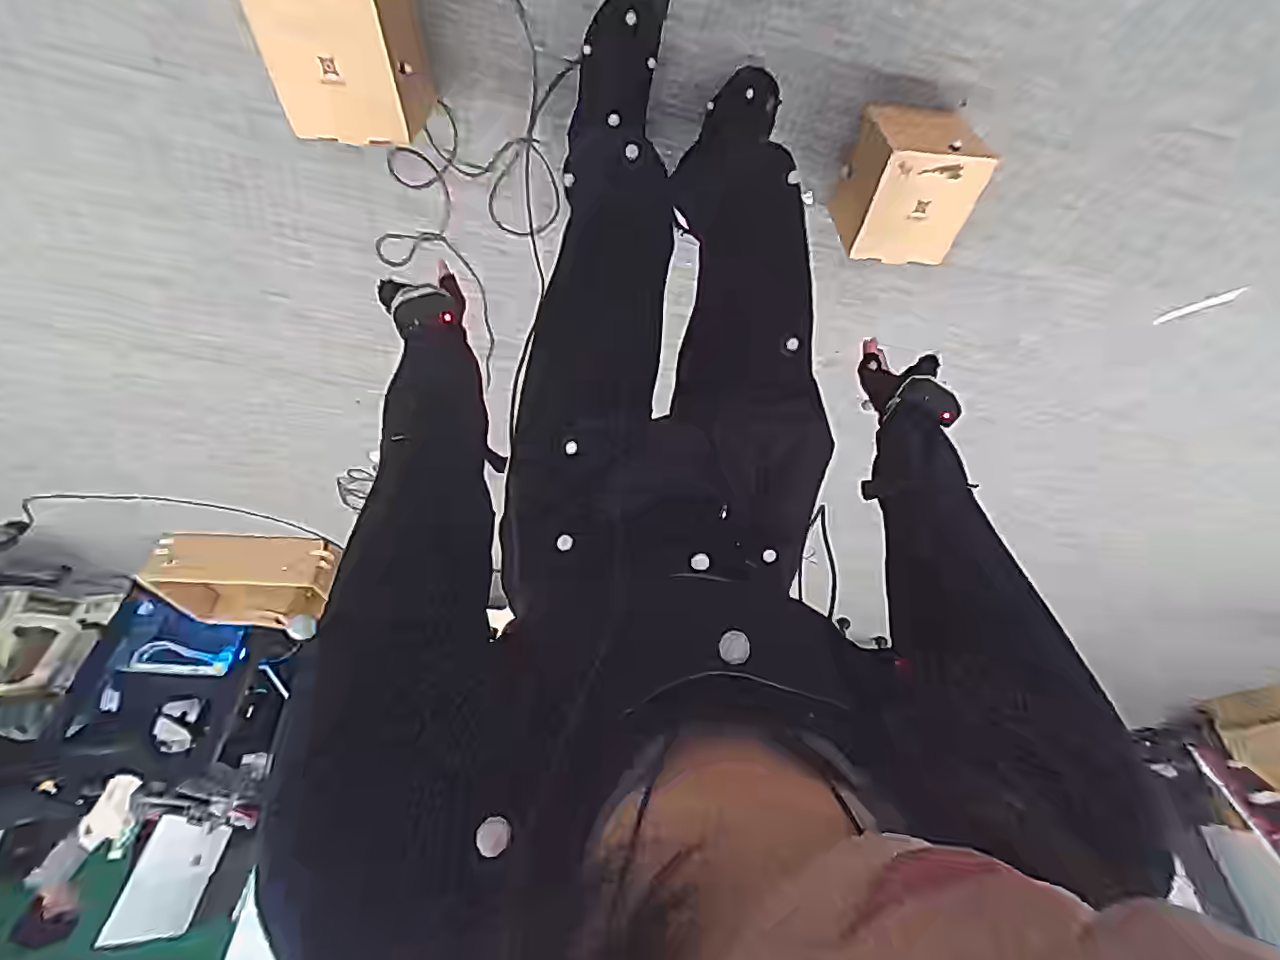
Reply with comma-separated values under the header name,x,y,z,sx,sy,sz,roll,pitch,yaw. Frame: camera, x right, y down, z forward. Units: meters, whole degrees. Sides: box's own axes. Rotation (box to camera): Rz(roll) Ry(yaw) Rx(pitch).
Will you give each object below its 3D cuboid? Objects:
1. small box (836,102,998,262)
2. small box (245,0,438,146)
name,x,y,z,sx,sy,sz,roll,pitch,yaw
small box,0.446,-0.498,0.909,0.168,0.176,0.179,2,144,-3
small box,-0.405,-0.608,0.769,0.168,0.176,0.179,1,141,-1
